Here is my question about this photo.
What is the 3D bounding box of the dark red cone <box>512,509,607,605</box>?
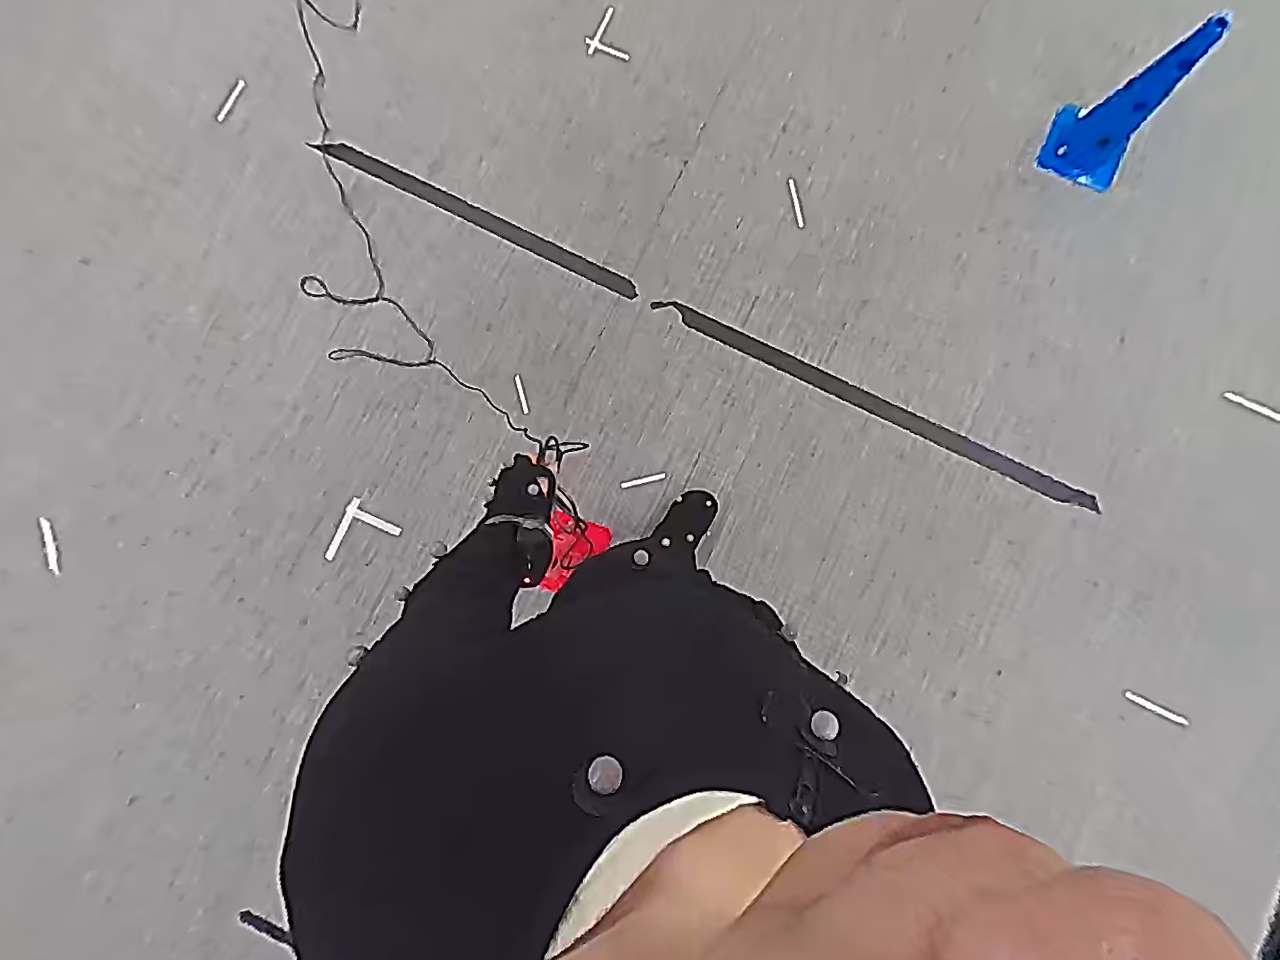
[{"bbox_3d":[-0.205,0.168,1.176,0.202,0.394,0.201,18,84,4],"label":"dark red cone"}]

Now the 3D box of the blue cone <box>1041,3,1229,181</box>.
[{"bbox_3d":[1.176,-0.918,1.277,0.193,0.380,0.192,27,84,4],"label":"blue cone"}]
